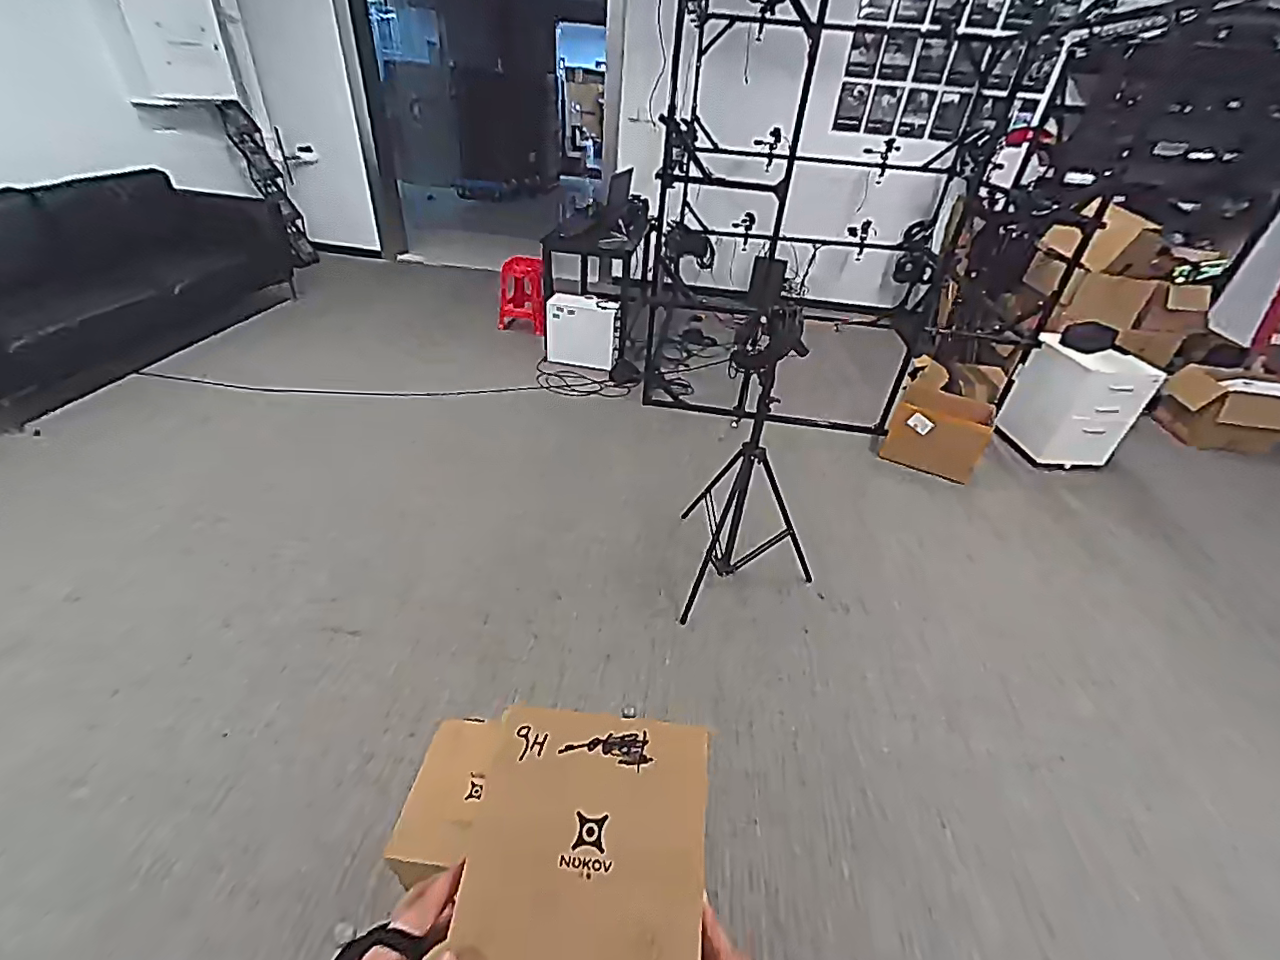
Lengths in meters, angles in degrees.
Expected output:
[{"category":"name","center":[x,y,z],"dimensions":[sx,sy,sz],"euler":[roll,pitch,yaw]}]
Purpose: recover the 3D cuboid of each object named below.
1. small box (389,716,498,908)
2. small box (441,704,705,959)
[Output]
[{"category":"small box","center":[-0.205,0.454,0.732],"dimensions":[0.168,0.176,0.179],"euler":[5,38,4]},{"category":"small box","center":[-0.038,0.301,0.443],"dimensions":[0.168,0.176,0.179],"euler":[5,55,4]}]
